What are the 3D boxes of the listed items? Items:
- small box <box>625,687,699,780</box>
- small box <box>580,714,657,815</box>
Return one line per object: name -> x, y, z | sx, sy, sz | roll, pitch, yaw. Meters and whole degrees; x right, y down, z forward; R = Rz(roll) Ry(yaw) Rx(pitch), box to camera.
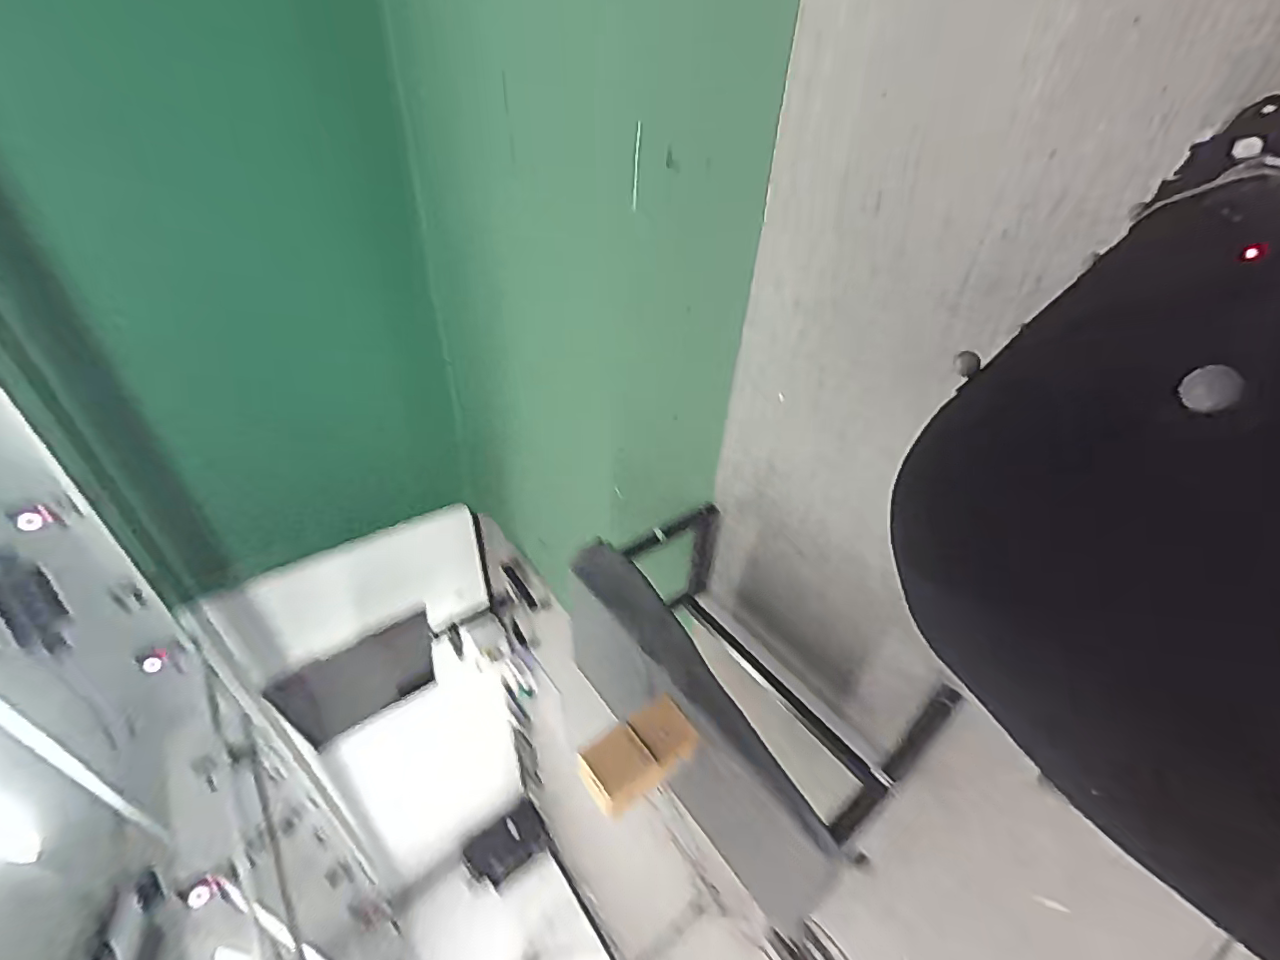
small box -> 0.067, 0.798, 1.713 | 0.179, 0.176, 0.168 | 43, 144, 36
small box -> -0.063, 0.845, 1.619 | 0.168, 0.176, 0.179 | 37, 138, 39
